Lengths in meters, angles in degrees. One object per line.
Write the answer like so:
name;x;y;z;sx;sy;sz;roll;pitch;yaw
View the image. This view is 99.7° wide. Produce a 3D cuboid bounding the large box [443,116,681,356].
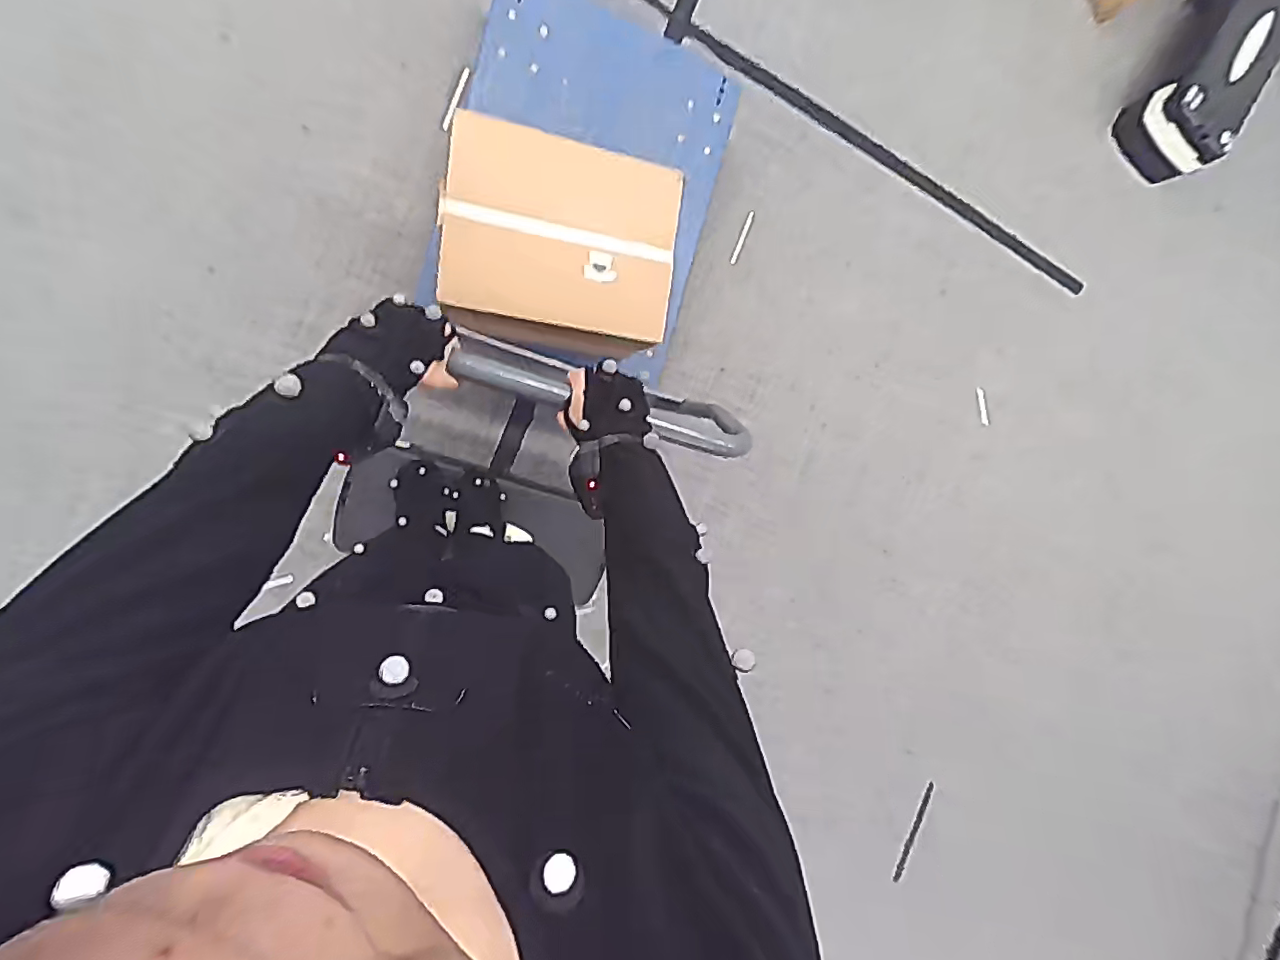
large box;-0.172;-0.446;1.089;0.408;0.320;0.320;5;96;-18
